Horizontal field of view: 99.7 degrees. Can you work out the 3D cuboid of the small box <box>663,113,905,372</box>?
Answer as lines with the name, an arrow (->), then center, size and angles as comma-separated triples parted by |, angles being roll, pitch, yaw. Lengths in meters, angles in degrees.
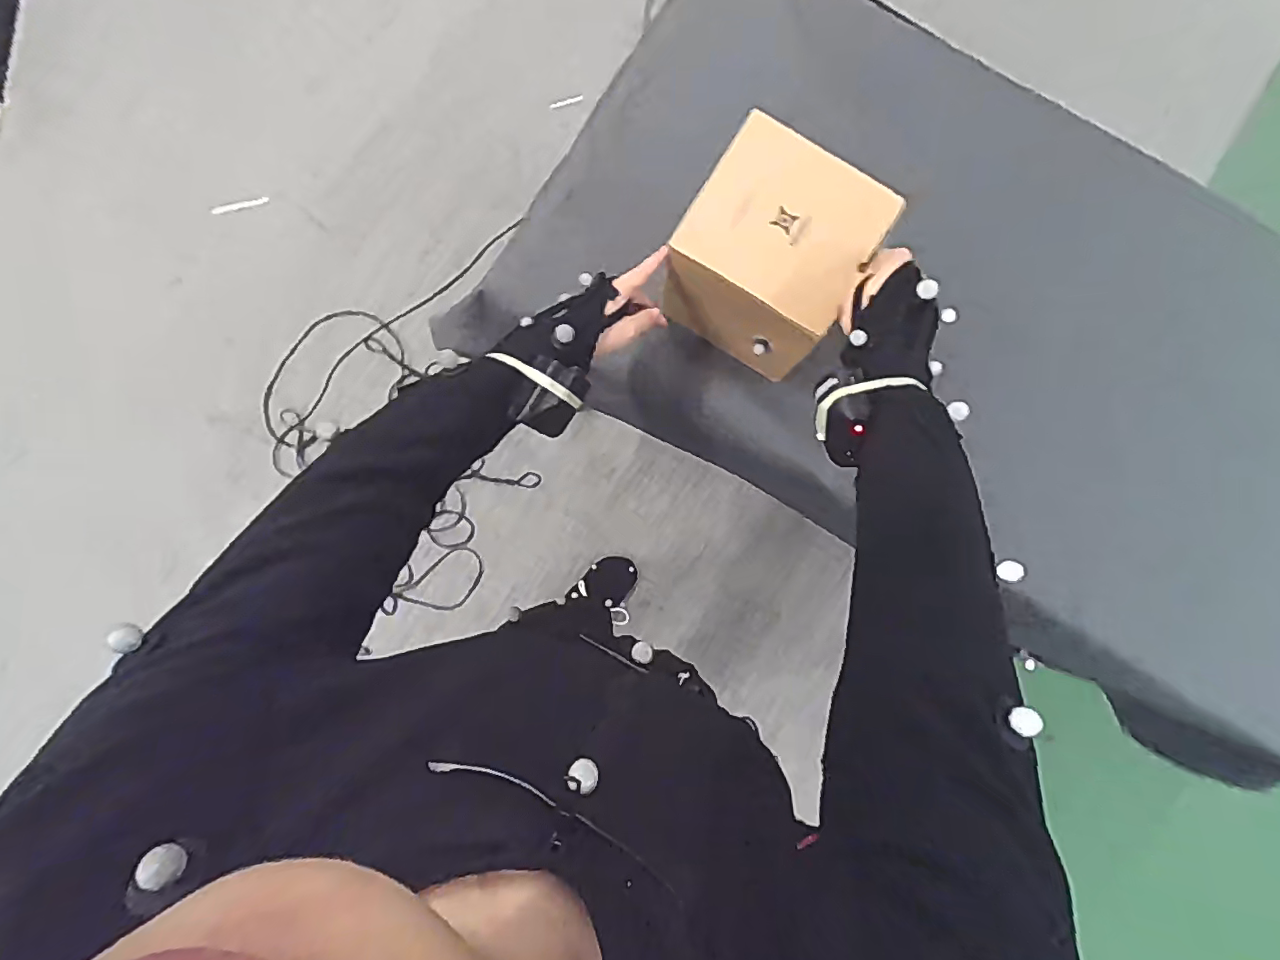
small box -> 0.141, -0.238, 0.595 | 0.179, 0.176, 0.168 | 31, 85, 3
